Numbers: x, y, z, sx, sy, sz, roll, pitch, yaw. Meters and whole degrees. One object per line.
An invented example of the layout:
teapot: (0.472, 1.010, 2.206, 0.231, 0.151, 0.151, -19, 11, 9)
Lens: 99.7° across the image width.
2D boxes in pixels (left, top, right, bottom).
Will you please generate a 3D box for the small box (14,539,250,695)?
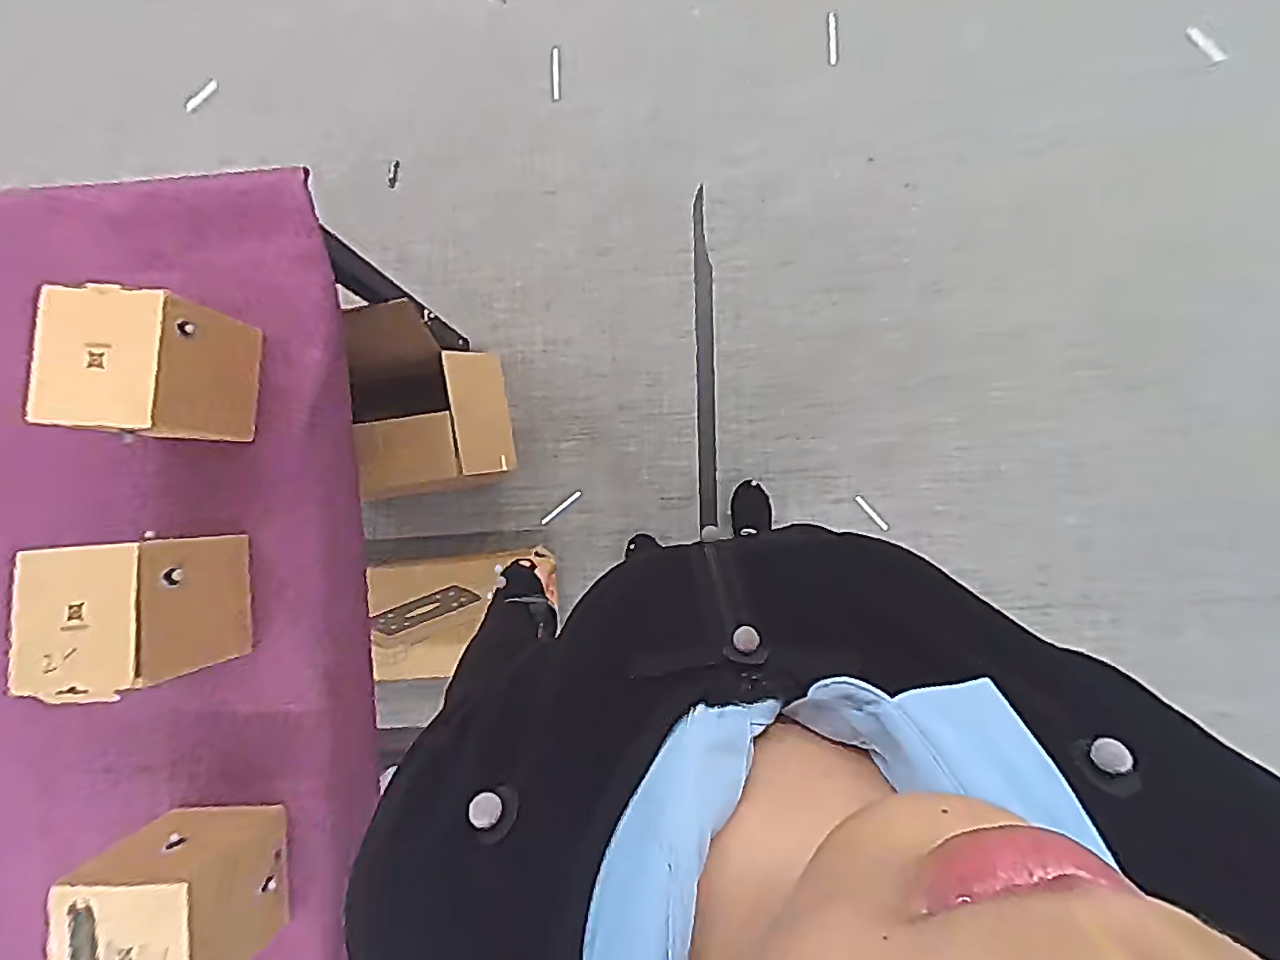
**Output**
small box: (-0.664, 0.171, 0.726, 0.168, 0.176, 0.179, -4, 87, 5)

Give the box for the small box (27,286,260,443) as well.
small box: (-0.662, -0.147, 0.741, 0.168, 0.176, 0.179, 3, 87, 3)
